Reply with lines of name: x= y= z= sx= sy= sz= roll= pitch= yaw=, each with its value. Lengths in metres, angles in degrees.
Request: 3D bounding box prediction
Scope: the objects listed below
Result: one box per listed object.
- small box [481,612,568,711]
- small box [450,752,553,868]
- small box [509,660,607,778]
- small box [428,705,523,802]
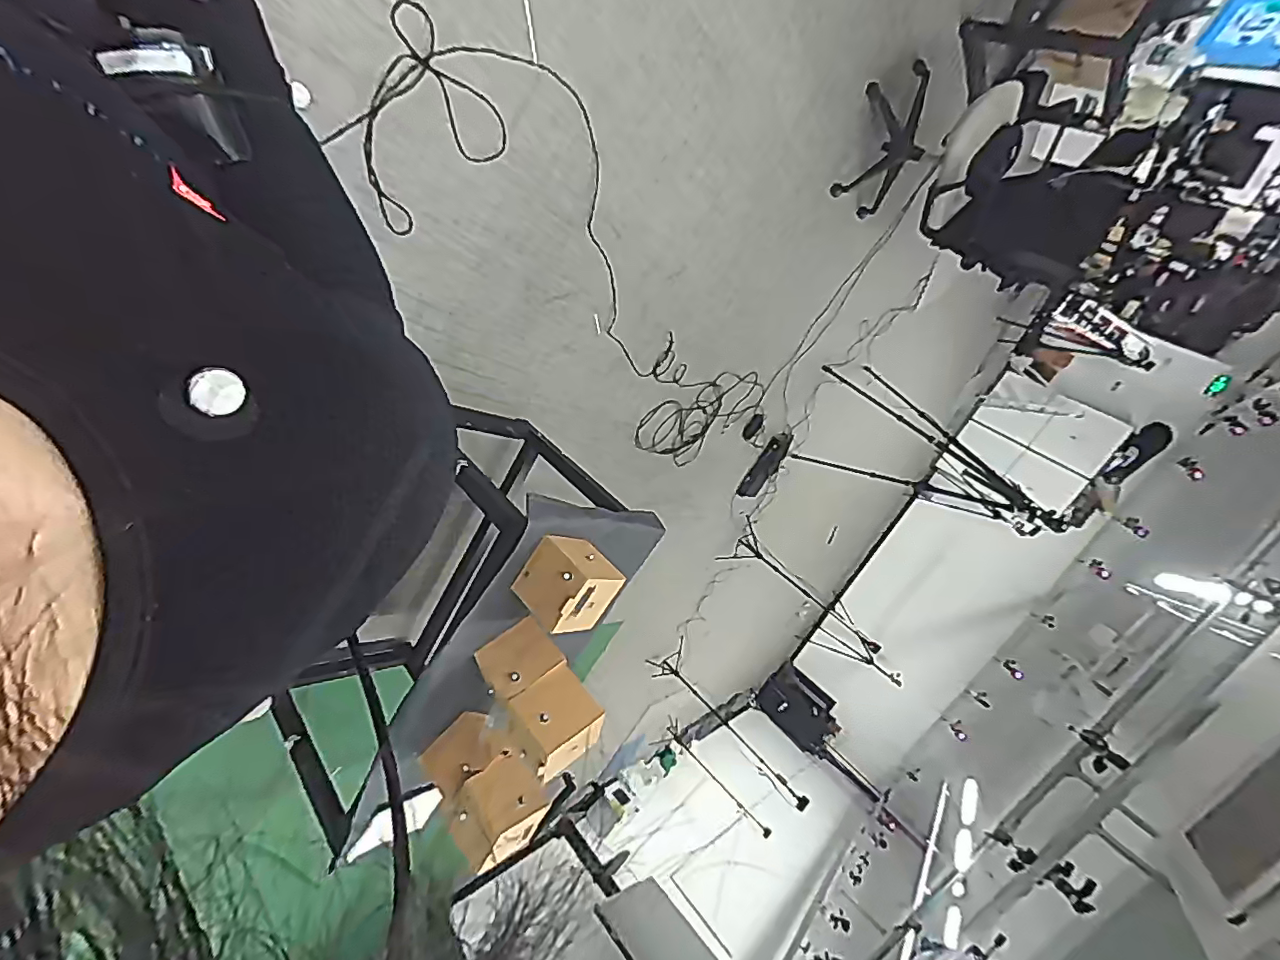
small box: x=-0.308 y=0.492 z=1.445 sx=0.179 sy=0.176 sz=0.168 roll=-32 pitch=146 yaw=-29
small box: x=-0.371 y=0.869 z=1.444 sx=0.179 sy=0.176 sz=0.168 roll=2 pitch=121 yaw=-54
small box: x=-0.212 y=0.594 z=1.361 sx=0.179 sy=0.176 sz=0.168 roll=-25 pitch=142 yaw=-39
small box: x=-0.473 y=0.779 z=1.538 sx=0.179 sy=0.176 sz=0.168 roll=-45 pitch=150 yaw=-12
